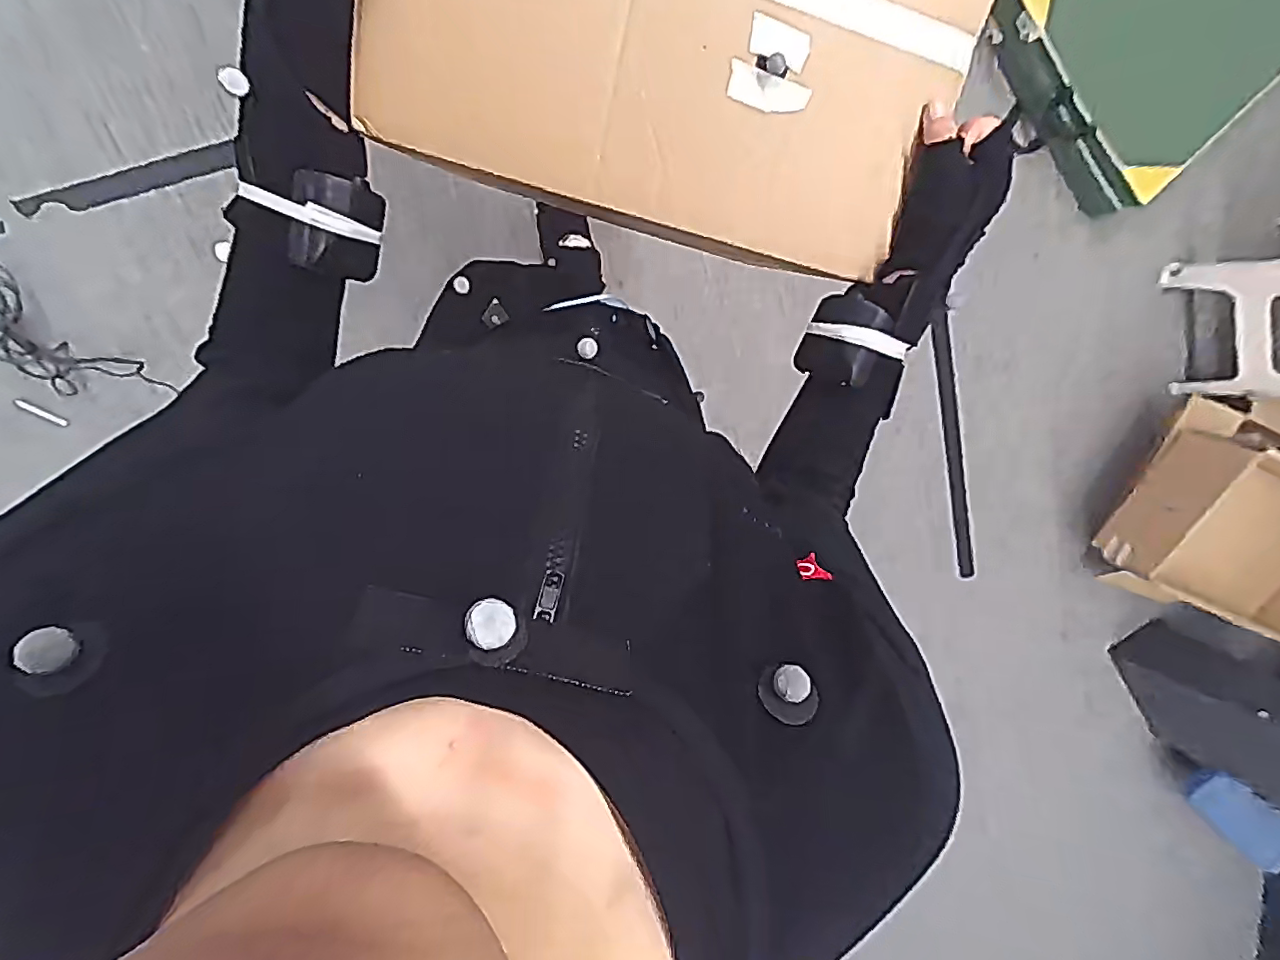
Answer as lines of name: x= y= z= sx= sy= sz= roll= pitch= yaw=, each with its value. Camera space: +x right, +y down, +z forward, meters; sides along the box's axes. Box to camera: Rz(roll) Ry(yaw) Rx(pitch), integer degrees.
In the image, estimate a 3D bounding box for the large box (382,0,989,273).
large box: x=0.029 y=-0.405 z=0.492 sx=0.408 sy=0.320 sz=0.320 roll=12 pitch=113 yaw=-12
